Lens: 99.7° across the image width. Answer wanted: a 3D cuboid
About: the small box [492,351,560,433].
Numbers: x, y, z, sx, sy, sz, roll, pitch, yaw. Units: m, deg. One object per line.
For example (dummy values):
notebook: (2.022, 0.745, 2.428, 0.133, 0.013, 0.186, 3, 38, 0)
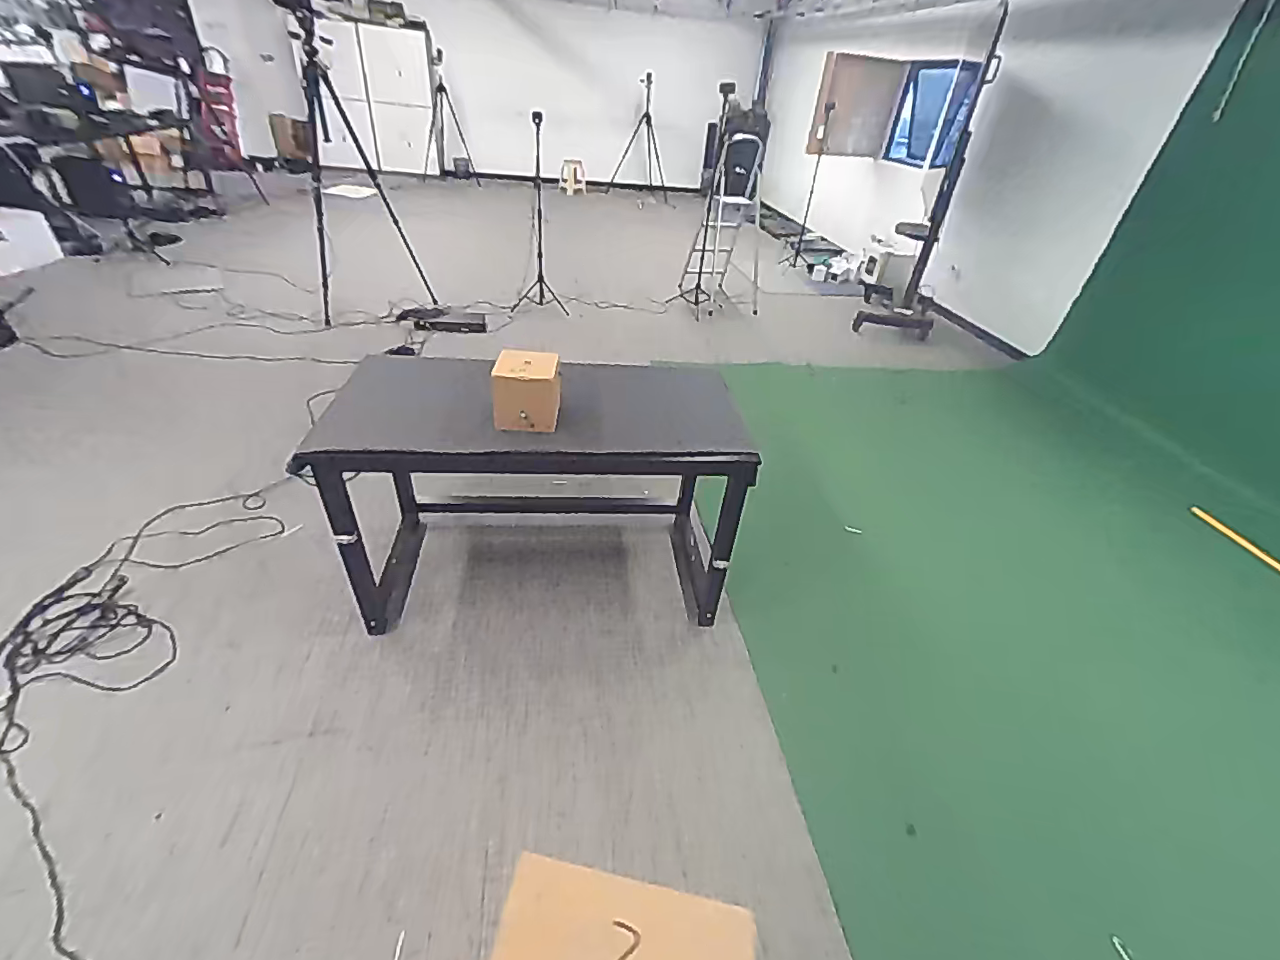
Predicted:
small box: (-0.319, -0.252, 1.536, 0.168, 0.176, 0.179, 2, 36, -4)
